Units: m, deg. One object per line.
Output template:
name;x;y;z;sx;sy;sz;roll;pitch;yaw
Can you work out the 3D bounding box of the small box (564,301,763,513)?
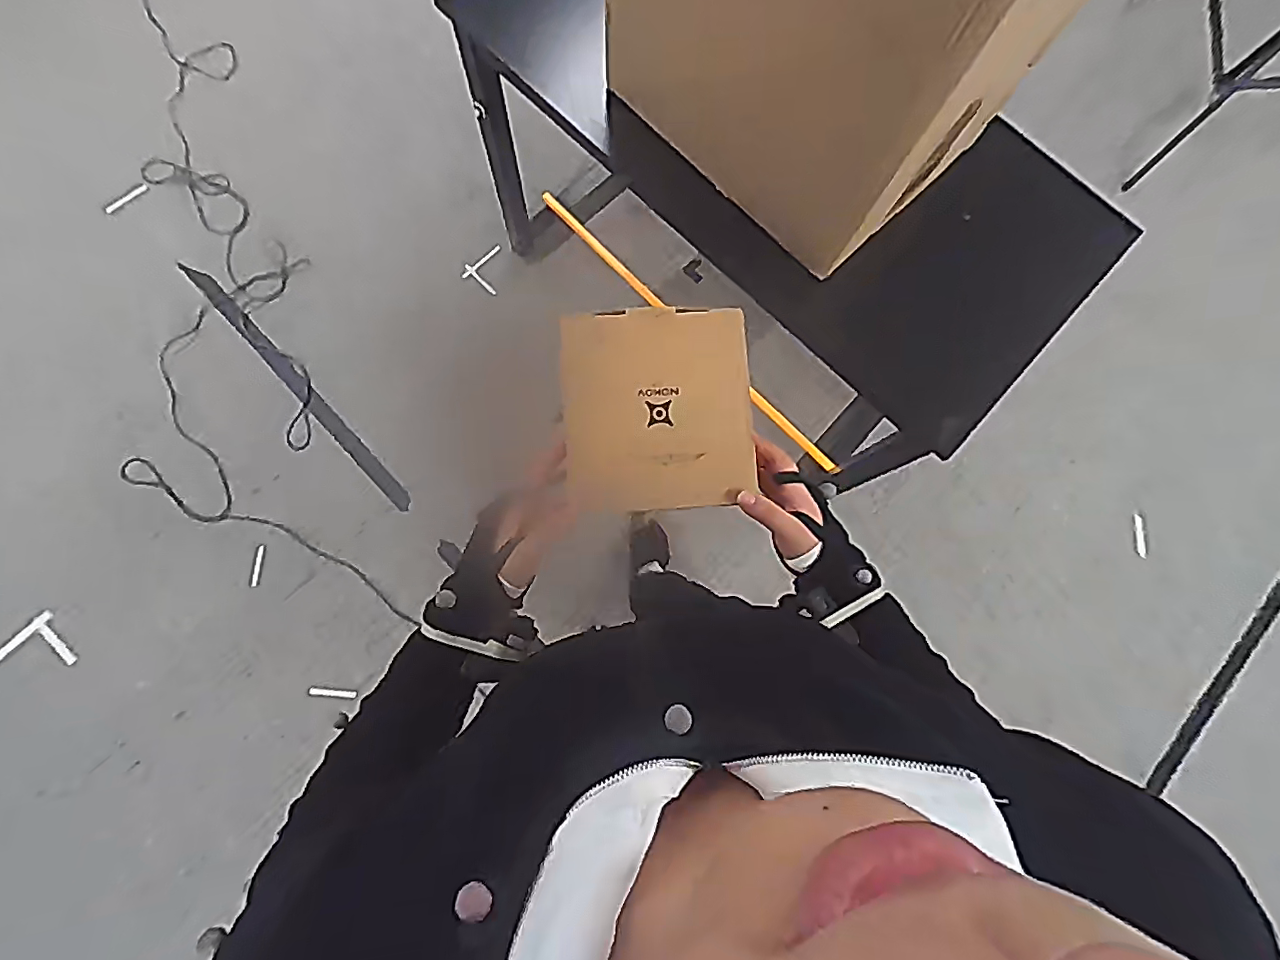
small box;0.011;-0.060;0.539;0.168;0.176;0.179;-4;87;-6
